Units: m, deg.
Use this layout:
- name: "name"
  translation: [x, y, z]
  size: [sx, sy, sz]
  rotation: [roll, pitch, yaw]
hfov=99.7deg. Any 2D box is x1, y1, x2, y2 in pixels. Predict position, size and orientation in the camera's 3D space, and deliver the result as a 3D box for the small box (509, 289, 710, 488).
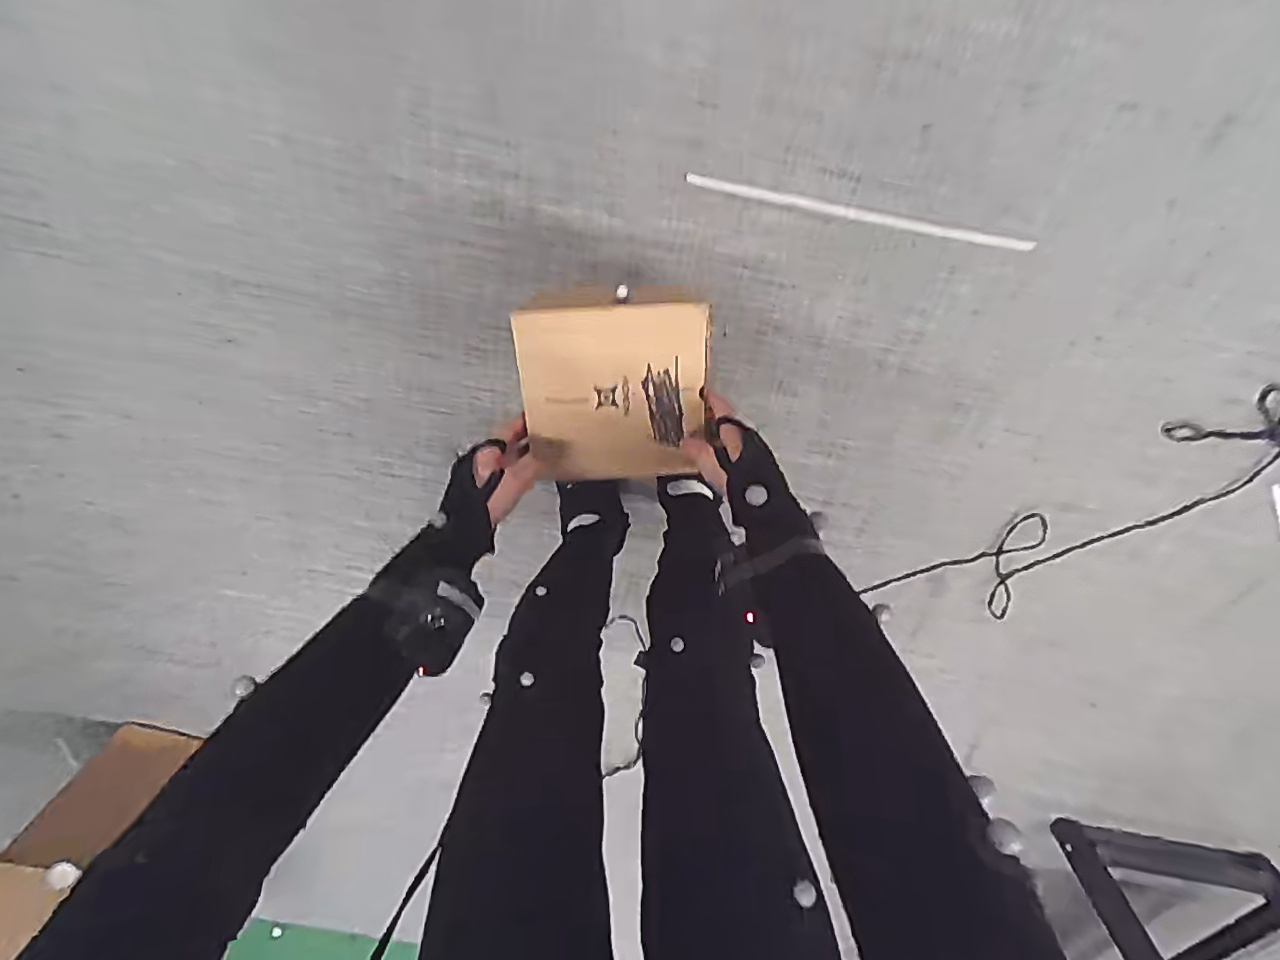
- name: "small box"
  translation: [-0.026, -0.105, 0.569]
  size: [0.179, 0.176, 0.168]
  rotation: [-4, 114, 0]
